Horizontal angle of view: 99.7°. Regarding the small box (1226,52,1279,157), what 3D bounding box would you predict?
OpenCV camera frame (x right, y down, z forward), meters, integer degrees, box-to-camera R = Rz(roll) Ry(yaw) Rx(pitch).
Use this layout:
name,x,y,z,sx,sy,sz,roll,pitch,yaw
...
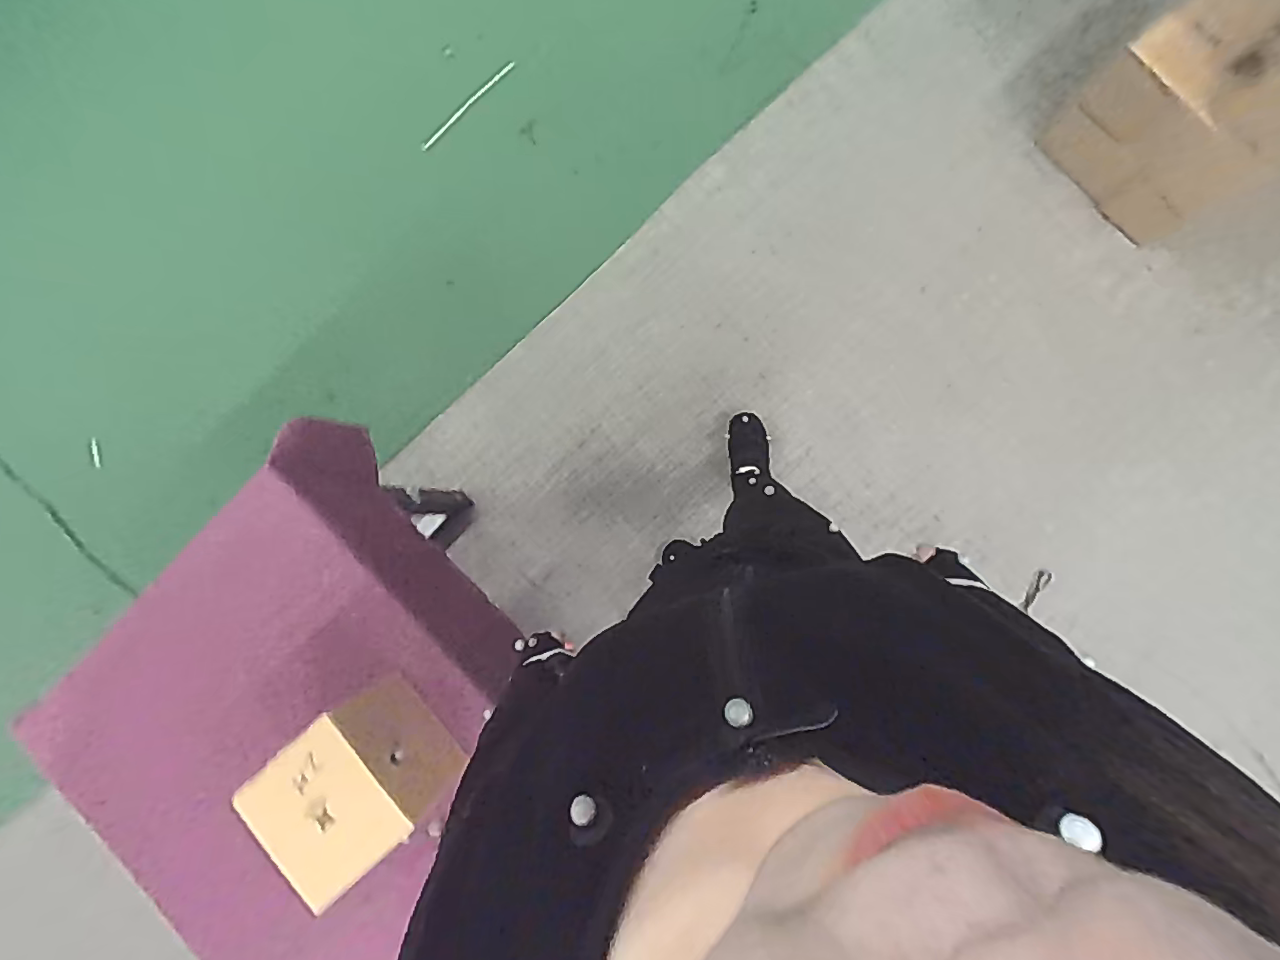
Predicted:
name,x,y,z,sx,sy,sz,roll,pitch,yaw
small box,1.297,-0.769,1.029,0.179,0.176,0.168,-36,86,1

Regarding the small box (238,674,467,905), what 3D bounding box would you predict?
name,x,y,z,sx,sy,sz,roll,pitch,yaw
small box,-0.368,0.396,0.728,0.168,0.176,0.179,-42,84,2
